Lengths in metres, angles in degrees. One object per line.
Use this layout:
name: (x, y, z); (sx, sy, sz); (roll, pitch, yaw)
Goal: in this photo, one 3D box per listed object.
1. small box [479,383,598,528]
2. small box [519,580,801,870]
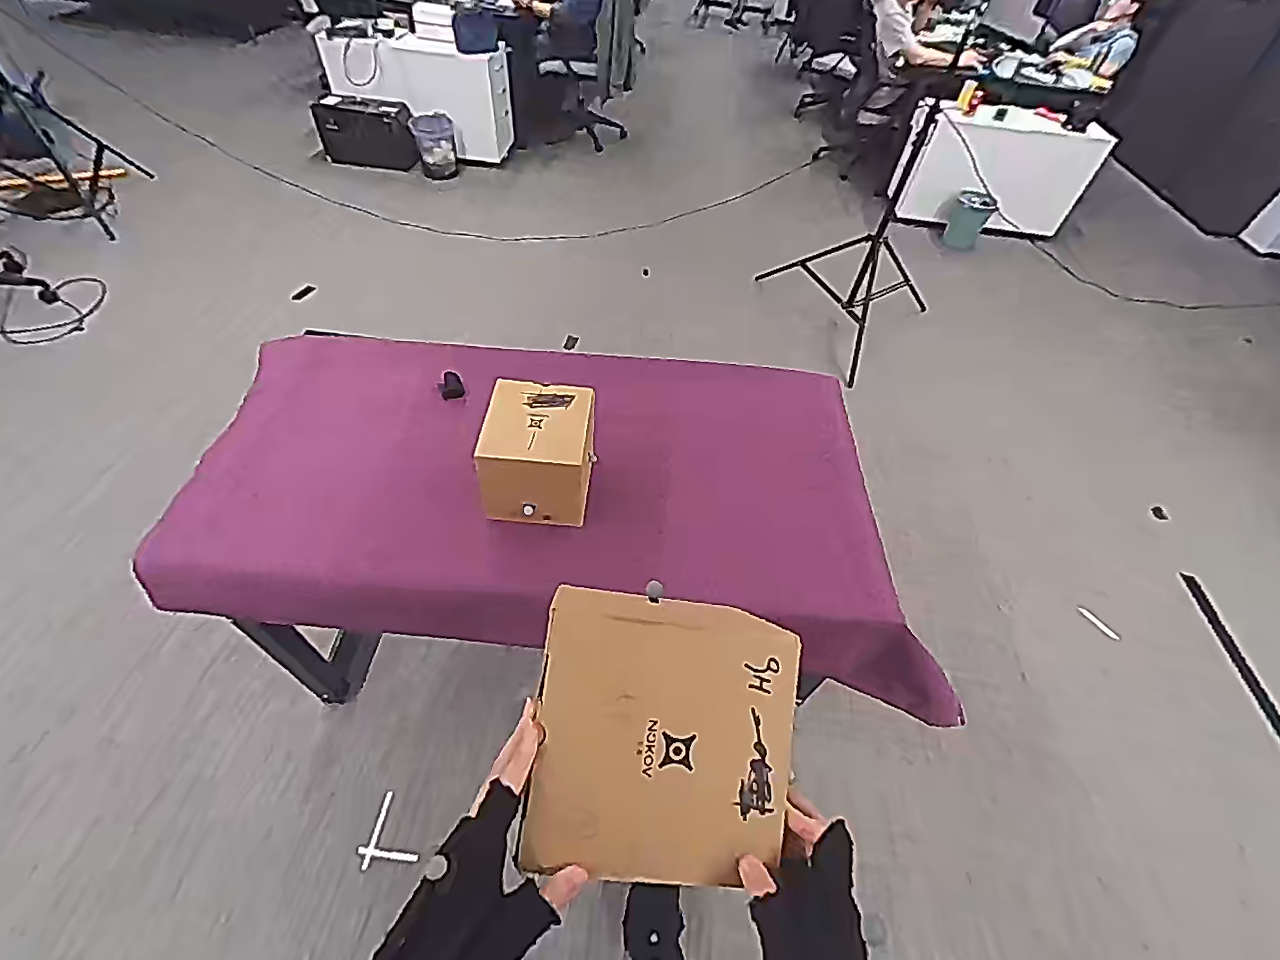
small box: (-0.166, -0.041, 0.933); (0.168, 0.176, 0.179); (5, 50, -1)
small box: (0.010, 0.176, 0.440); (0.179, 0.176, 0.168); (8, 82, -5)
